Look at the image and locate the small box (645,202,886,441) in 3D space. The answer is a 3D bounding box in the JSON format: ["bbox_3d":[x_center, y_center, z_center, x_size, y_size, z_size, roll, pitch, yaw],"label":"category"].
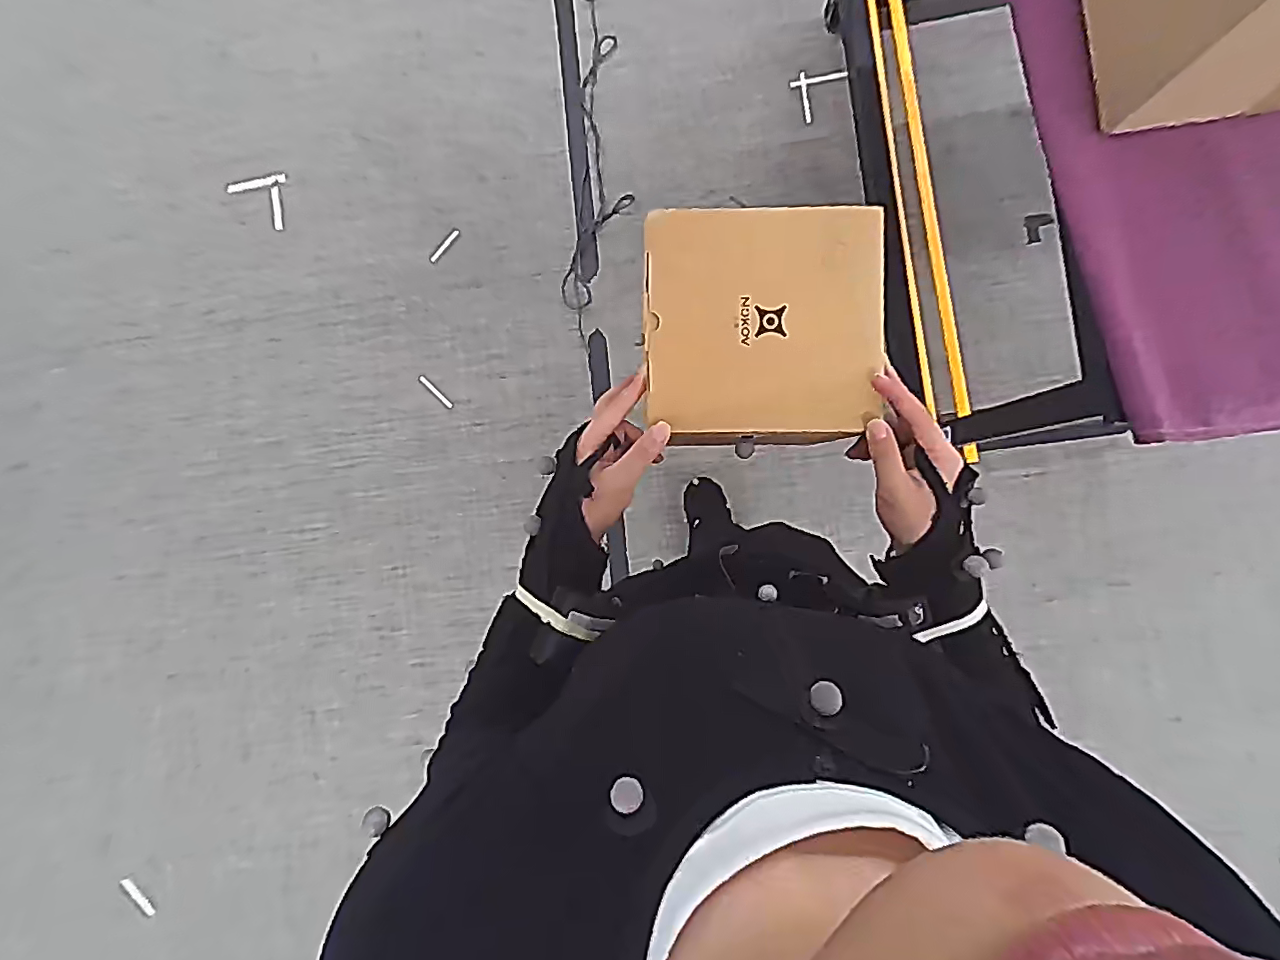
[{"bbox_3d":[0.093,-0.122,0.475,0.179,0.176,0.168,-1,91,1],"label":"small box"}]
